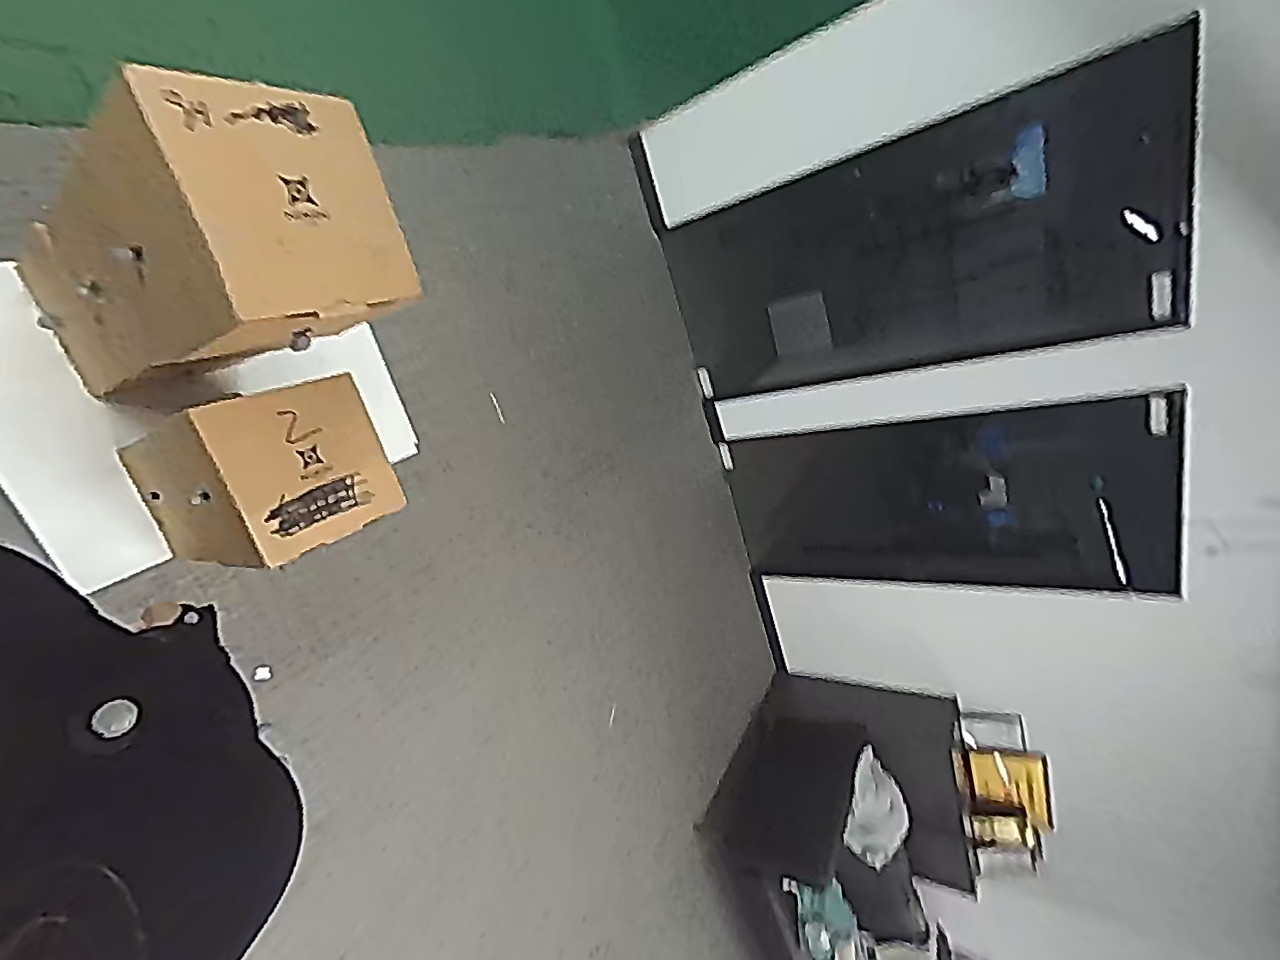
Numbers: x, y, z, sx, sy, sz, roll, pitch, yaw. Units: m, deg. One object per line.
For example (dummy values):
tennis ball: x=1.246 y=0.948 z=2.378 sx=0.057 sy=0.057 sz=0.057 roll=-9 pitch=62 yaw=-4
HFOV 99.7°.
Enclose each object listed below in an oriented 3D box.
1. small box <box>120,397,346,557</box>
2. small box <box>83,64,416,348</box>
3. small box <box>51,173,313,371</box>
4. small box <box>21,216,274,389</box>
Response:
small box: x=-0.555 y=-0.008 z=0.745 sx=0.179 sy=0.176 sz=0.168 roll=-34 pitch=114 yaw=-49
small box: x=-0.345 y=-0.224 z=0.490 sx=0.168 sy=0.176 sz=0.179 roll=-34 pitch=116 yaw=-50
small box: x=-0.475 y=-0.226 z=0.591 sx=0.179 sy=0.176 sz=0.168 roll=-35 pitch=116 yaw=-49
small box: x=-0.611 y=-0.223 z=0.683 sx=0.179 sy=0.176 sz=0.168 roll=-36 pitch=117 yaw=-48
